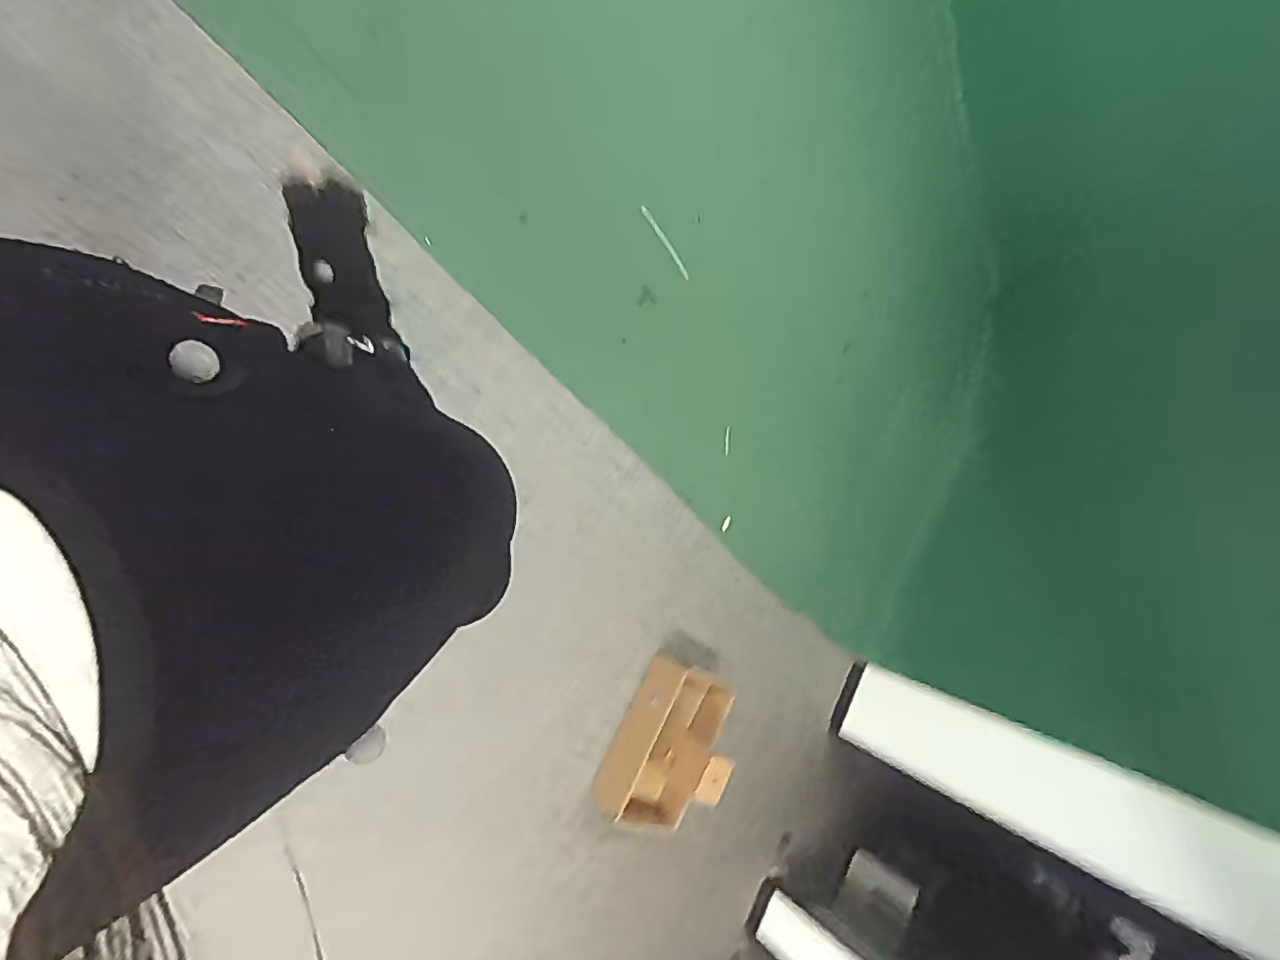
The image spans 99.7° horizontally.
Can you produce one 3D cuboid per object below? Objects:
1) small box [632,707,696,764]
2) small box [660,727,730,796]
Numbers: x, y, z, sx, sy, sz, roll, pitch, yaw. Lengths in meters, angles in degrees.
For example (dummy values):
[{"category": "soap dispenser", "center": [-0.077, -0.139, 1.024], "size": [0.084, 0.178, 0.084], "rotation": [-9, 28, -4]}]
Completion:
[{"category": "small box", "center": [0.097, 1.042, 2.183], "size": [0.179, 0.176, 0.168], "rotation": [43, 70, -40]}, {"category": "small box", "center": [0.207, 1.070, 2.067], "size": [0.179, 0.176, 0.168], "rotation": [42, 72, -41]}]
